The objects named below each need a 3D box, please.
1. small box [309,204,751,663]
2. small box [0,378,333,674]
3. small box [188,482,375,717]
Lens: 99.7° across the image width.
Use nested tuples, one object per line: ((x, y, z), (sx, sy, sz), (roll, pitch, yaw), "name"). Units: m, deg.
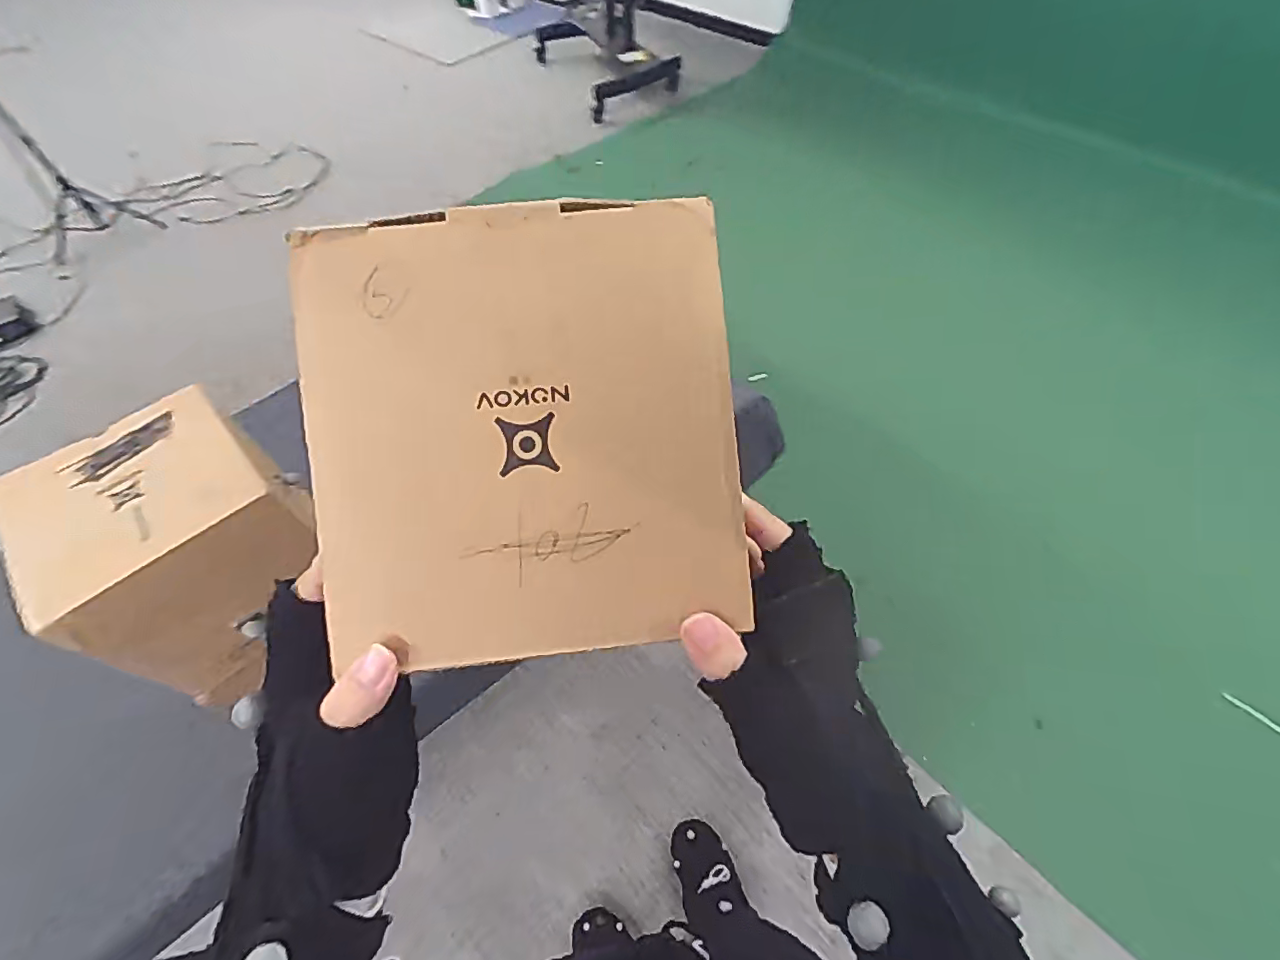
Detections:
((-0.045, -0.020, 0.293), (0.168, 0.176, 0.179), (-4, 92, -2), "small box")
((-0.403, 0.046, 0.497), (0.168, 0.176, 0.179), (-38, 62, -22), "small box")
((-0.395, 0.144, 0.630), (0.179, 0.176, 0.168), (-39, 62, -22), "small box")
